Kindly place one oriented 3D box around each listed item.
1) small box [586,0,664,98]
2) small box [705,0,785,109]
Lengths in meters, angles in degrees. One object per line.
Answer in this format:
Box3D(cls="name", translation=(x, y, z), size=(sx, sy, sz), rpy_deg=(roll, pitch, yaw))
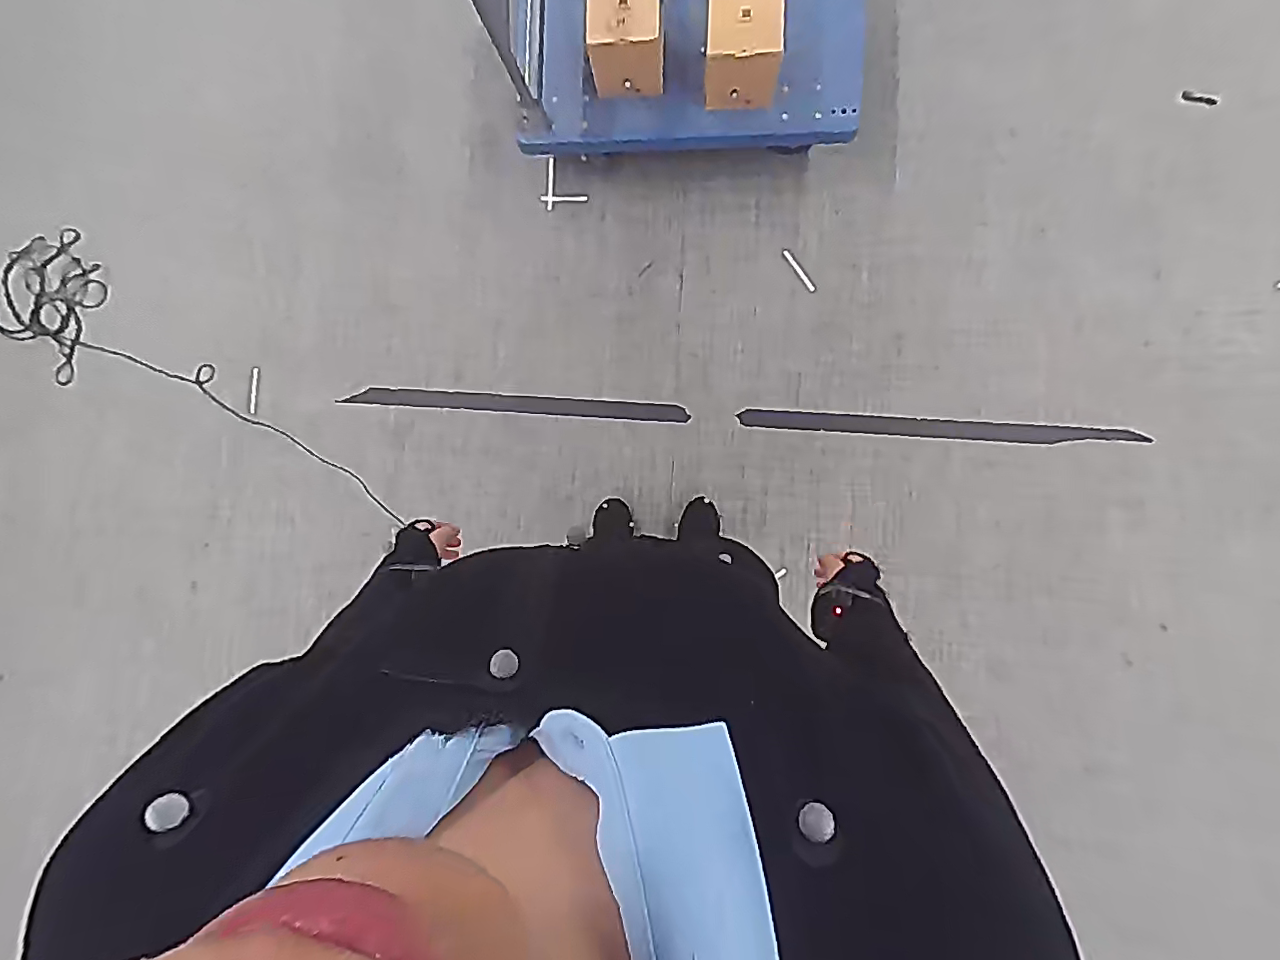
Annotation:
Box3D(cls="small box", translation=(-0.031, -1.052, 1.280), size=(0.168, 0.176, 0.179), rpy_deg=(1, 88, 6))
Box3D(cls="small box", translation=(0.237, -1.005, 1.255), size=(0.168, 0.176, 0.179), rpy_deg=(1, 88, 5))
